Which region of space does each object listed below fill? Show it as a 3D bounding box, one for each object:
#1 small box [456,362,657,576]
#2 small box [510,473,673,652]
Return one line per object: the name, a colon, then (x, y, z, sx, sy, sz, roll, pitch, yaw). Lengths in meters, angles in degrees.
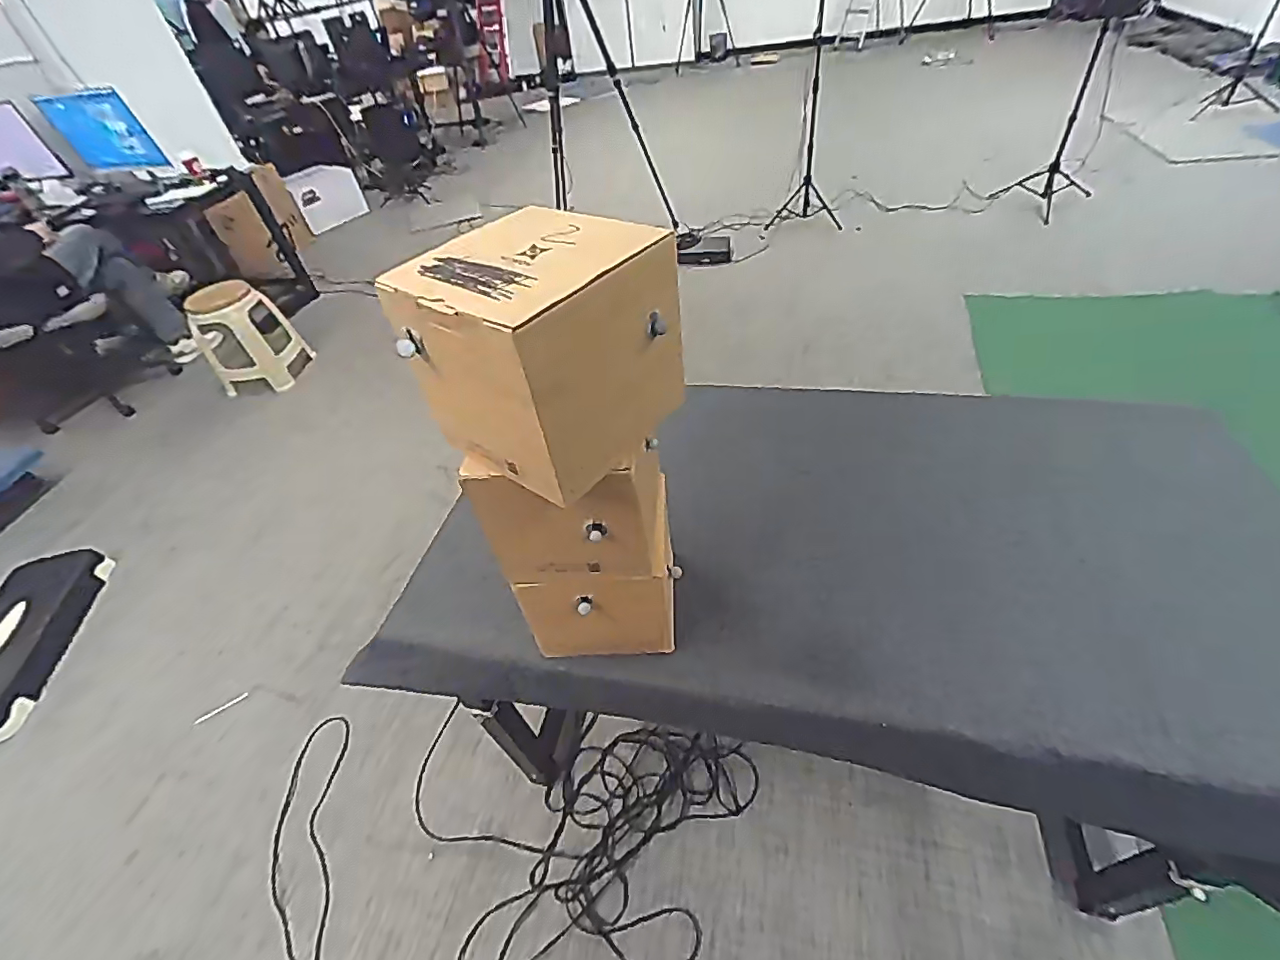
small box: (-0.073, -0.008, 0.596, 0.168, 0.176, 0.179, -2, 43, 7)
small box: (-0.048, 0.110, 0.705, 0.179, 0.176, 0.168, -4, 44, 7)
